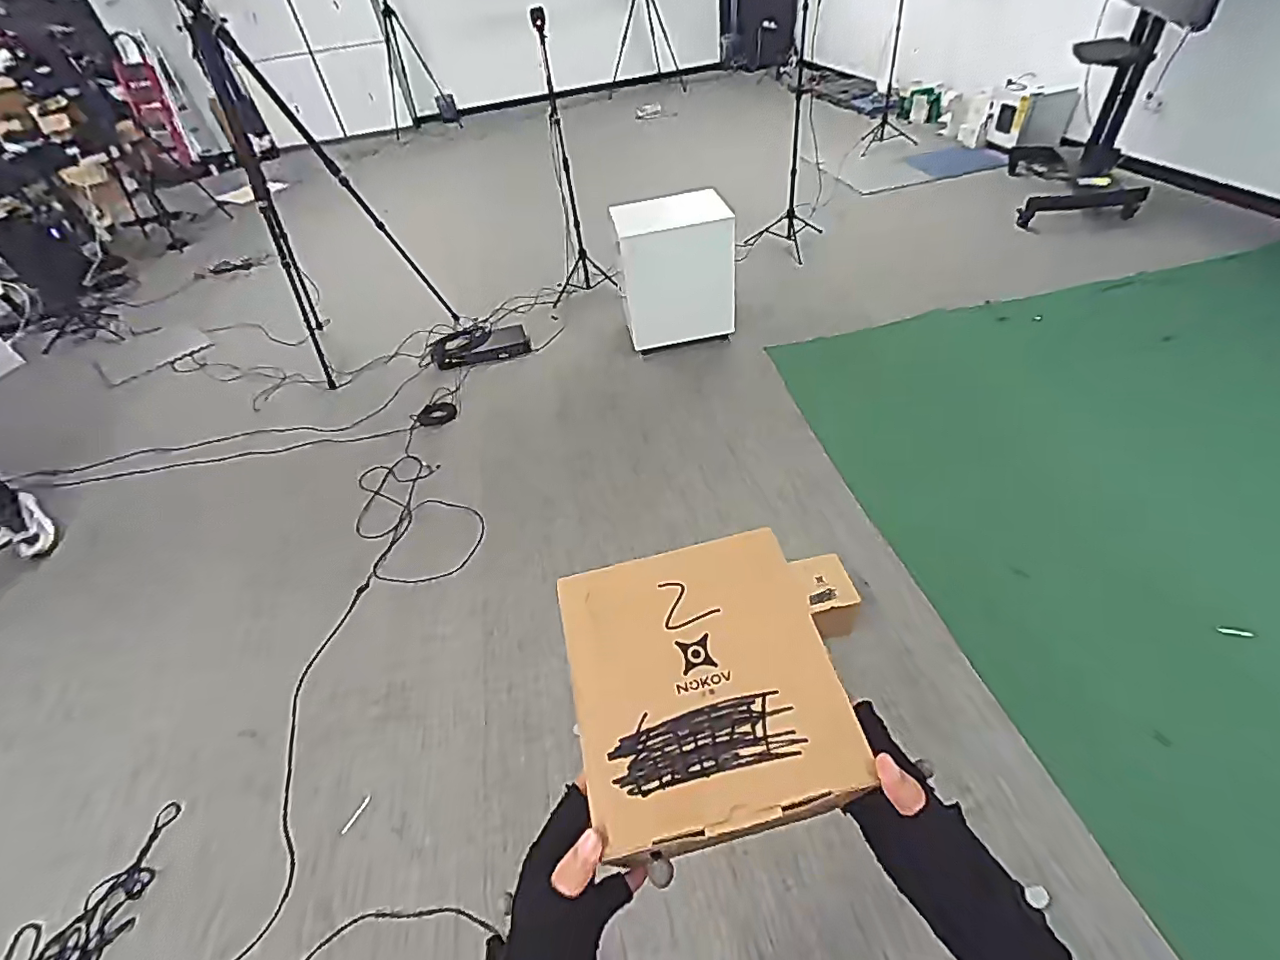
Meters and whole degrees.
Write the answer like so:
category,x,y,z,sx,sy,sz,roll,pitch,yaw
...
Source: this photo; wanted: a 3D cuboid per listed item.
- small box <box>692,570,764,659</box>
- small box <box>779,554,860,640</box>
category,x,y,z,sx,sy,sz,roll,pitch,yaw
small box,0.249,0.390,1.568,0.168,0.176,0.179,-10,45,-2
small box,0.515,0.347,1.571,0.168,0.176,0.179,-11,44,-3
